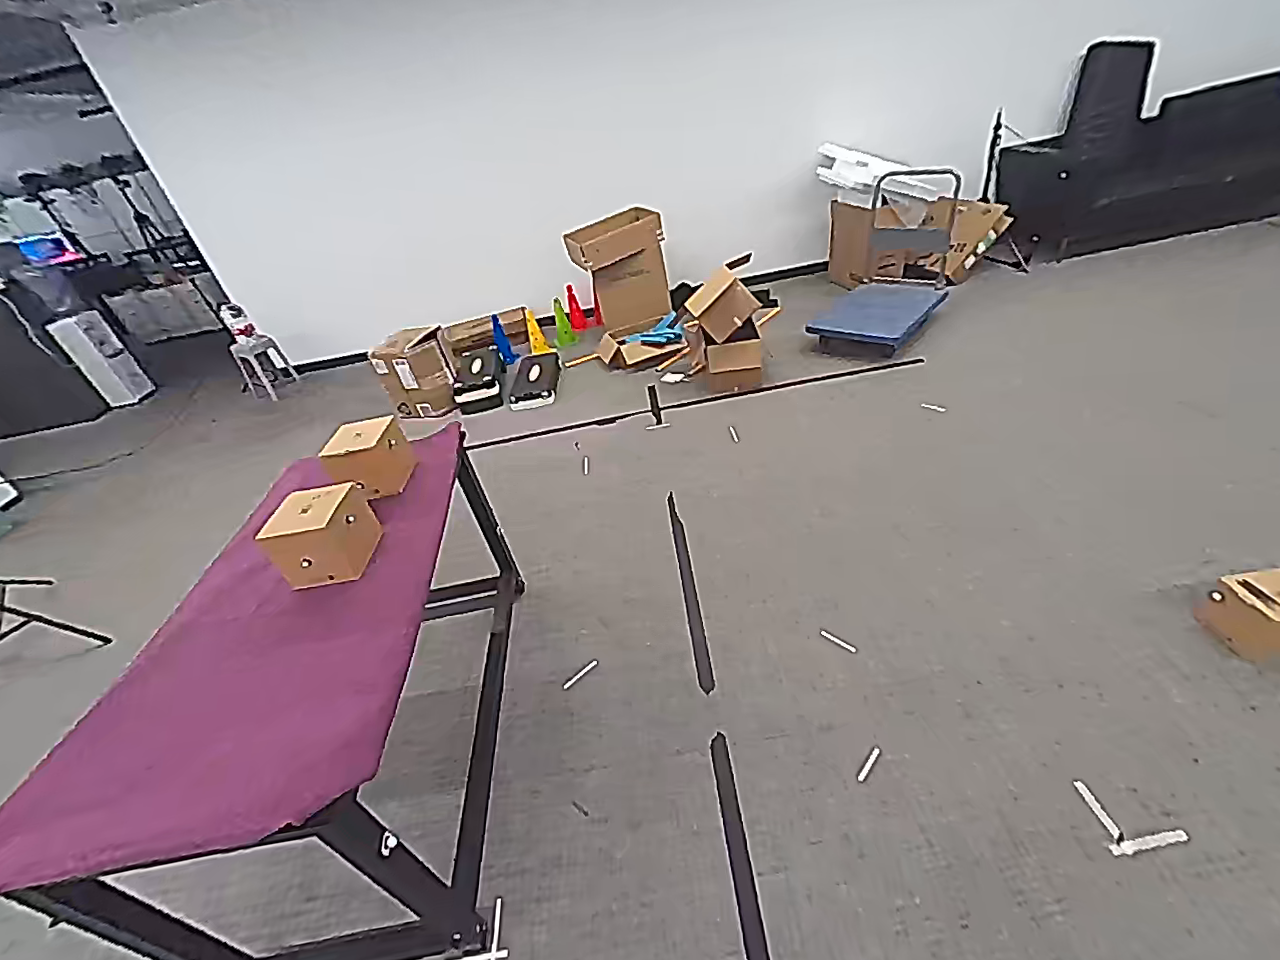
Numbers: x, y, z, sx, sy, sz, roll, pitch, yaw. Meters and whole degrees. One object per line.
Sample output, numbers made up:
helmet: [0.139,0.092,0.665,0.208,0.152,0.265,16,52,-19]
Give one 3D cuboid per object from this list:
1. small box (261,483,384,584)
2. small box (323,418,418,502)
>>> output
small box: [-0.751,0.136,1.305,0.168,0.176,0.179,-9,35,4]
small box: [-0.774,-0.057,1.580,0.168,0.176,0.179,-10,36,5]
